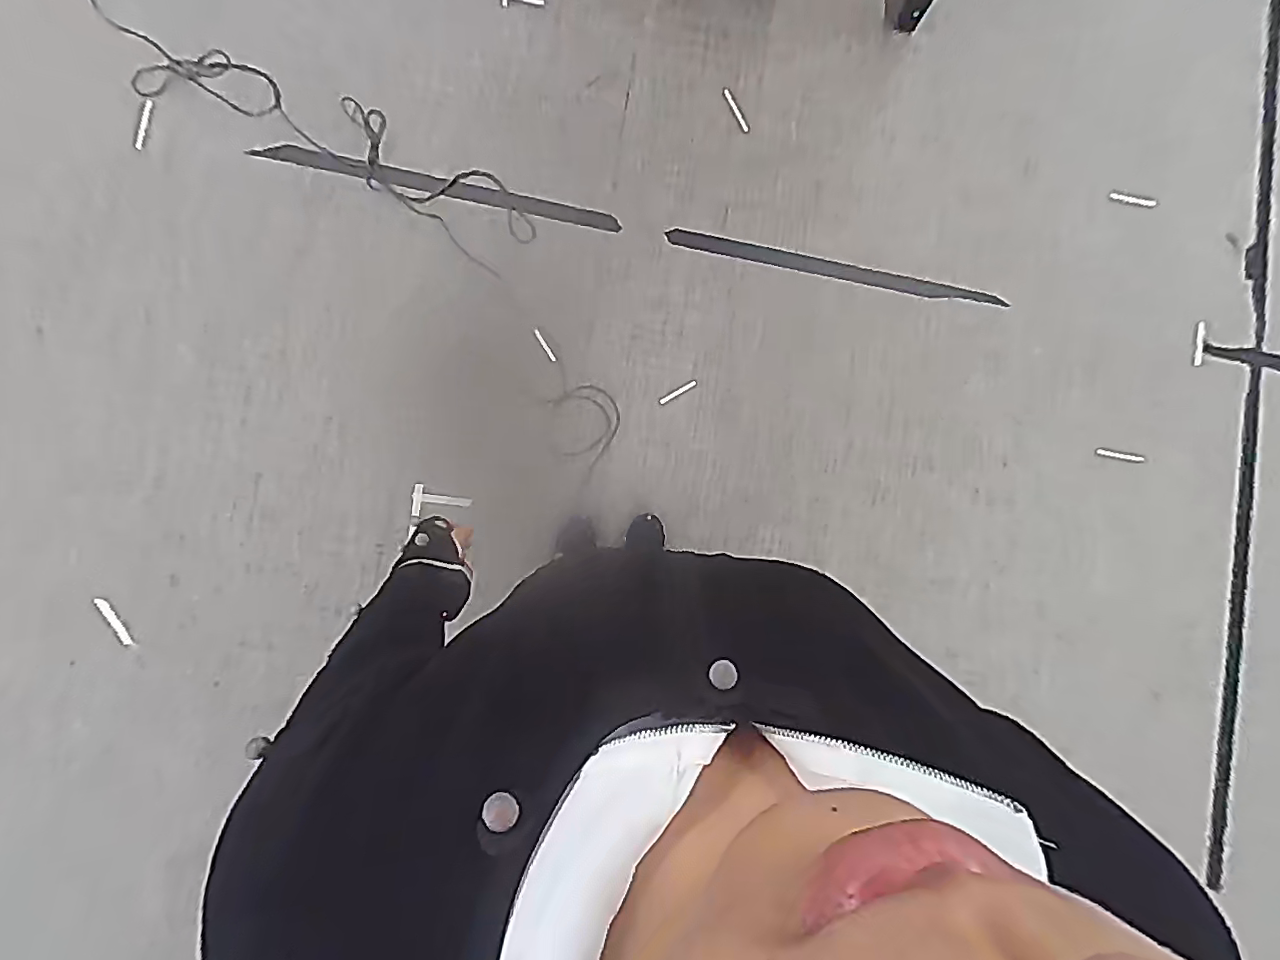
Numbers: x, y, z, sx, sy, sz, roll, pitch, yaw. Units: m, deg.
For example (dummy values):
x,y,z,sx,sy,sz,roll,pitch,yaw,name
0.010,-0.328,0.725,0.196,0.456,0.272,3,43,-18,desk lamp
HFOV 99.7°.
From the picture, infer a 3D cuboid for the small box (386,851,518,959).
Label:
x,y,z,sx,sy,sz,roll,pitch,yaw,name
-0.302,0.751,0.876,0.168,0.176,0.179,9,84,-2,small box
